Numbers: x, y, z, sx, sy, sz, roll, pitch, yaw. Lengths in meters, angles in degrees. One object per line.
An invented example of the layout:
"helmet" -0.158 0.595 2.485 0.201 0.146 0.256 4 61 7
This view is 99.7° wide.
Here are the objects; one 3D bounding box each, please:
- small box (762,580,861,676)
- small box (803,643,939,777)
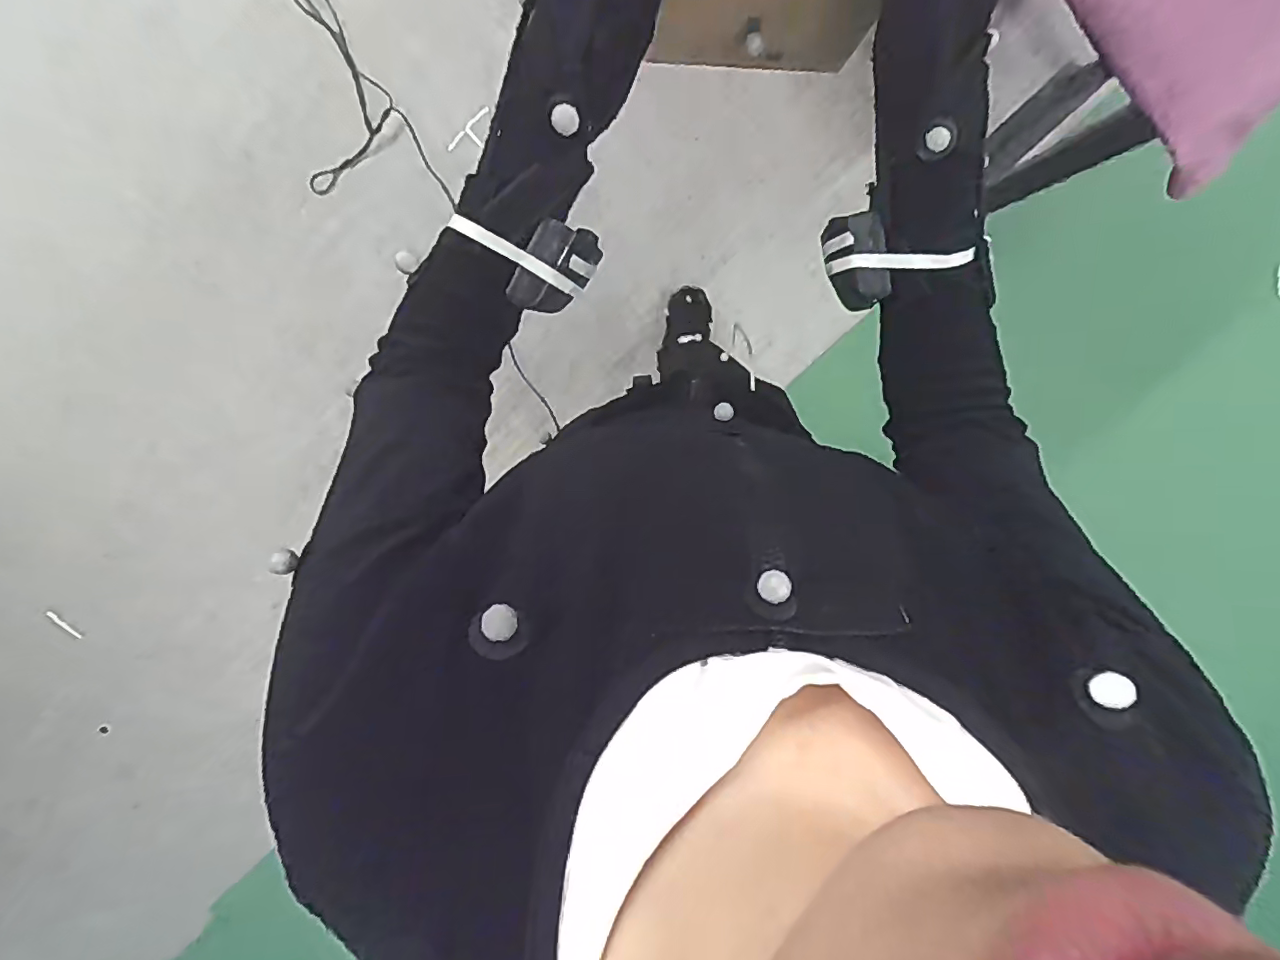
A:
"small box" 0.464 0.406 1.481 0.168 0.176 0.179 -41 99 6
"small box" 0.482 0.478 1.160 0.179 0.176 0.168 42 98 -10
